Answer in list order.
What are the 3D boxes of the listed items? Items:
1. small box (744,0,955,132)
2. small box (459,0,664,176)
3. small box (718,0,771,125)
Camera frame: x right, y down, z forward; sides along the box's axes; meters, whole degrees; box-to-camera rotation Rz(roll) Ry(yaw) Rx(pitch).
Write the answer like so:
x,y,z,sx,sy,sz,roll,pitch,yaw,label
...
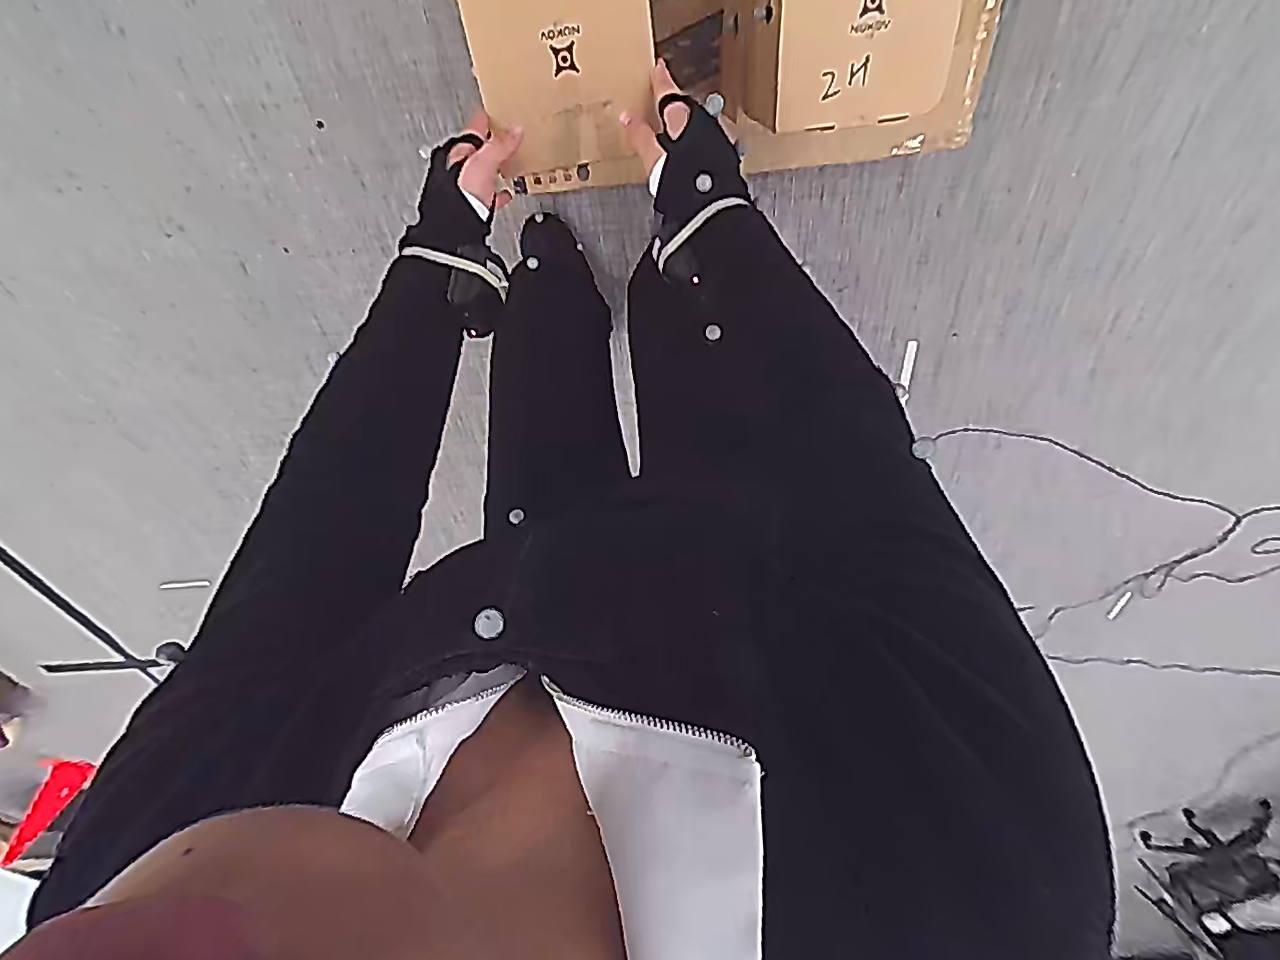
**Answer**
x,y,z,sx,sy,sz,roll,pitch,yaw,label
0.203,-0.478,0.557,0.168,0.176,0.179,-5,129,3,small box
-0.071,-0.423,0.552,0.168,0.176,0.179,-8,121,4,small box
0.195,-0.571,0.696,0.168,0.176,0.179,-1,130,1,small box
